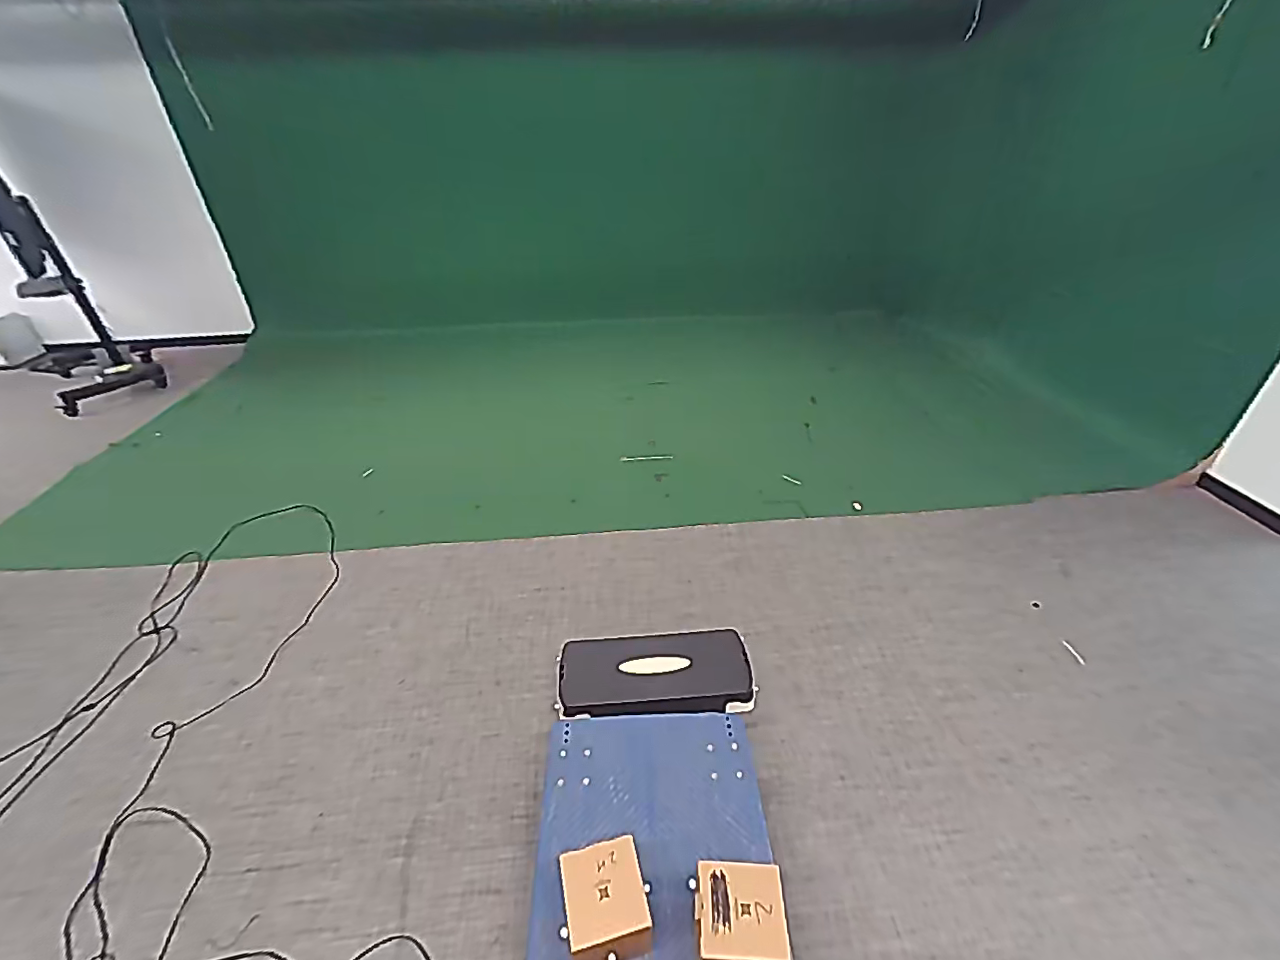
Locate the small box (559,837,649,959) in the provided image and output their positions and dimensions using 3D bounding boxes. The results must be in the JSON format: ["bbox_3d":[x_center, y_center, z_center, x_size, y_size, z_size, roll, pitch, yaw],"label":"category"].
[{"bbox_3d":[-0.078,0.921,1.168,0.168,0.176,0.179,-8,35,-12],"label":"small box"}]
